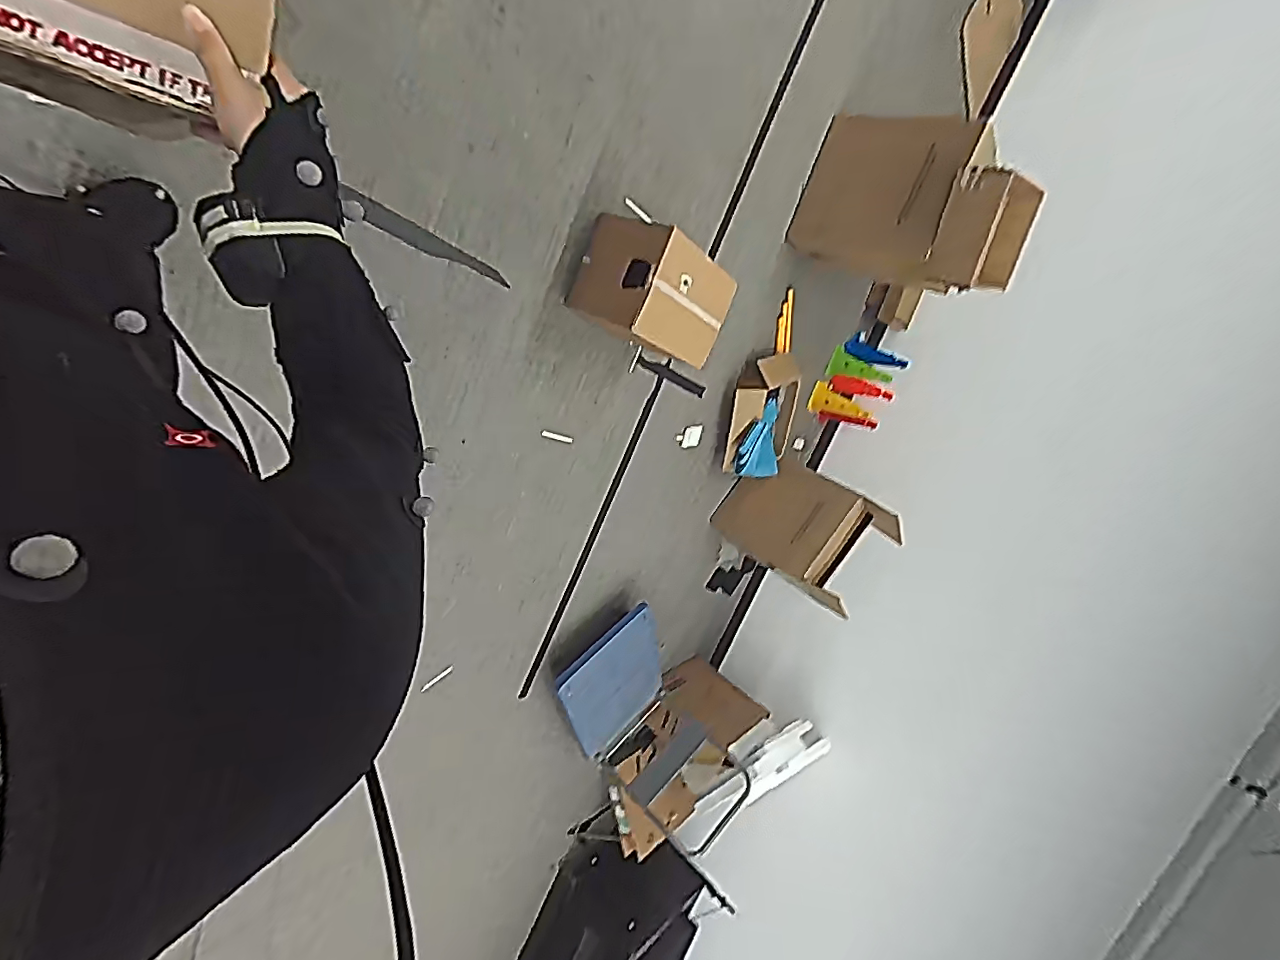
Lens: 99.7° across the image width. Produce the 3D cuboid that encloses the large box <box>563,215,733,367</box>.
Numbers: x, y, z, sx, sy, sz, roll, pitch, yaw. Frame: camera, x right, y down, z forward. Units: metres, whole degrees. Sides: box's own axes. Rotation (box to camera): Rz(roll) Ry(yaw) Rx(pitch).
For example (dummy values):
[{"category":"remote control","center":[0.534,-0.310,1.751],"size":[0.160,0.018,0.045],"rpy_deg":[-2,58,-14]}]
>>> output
[{"category":"large box","center":[0.032,-0.603,1.762],"size":[0.408,0.320,0.320],"rpy_deg":[11,105,-53]}]
